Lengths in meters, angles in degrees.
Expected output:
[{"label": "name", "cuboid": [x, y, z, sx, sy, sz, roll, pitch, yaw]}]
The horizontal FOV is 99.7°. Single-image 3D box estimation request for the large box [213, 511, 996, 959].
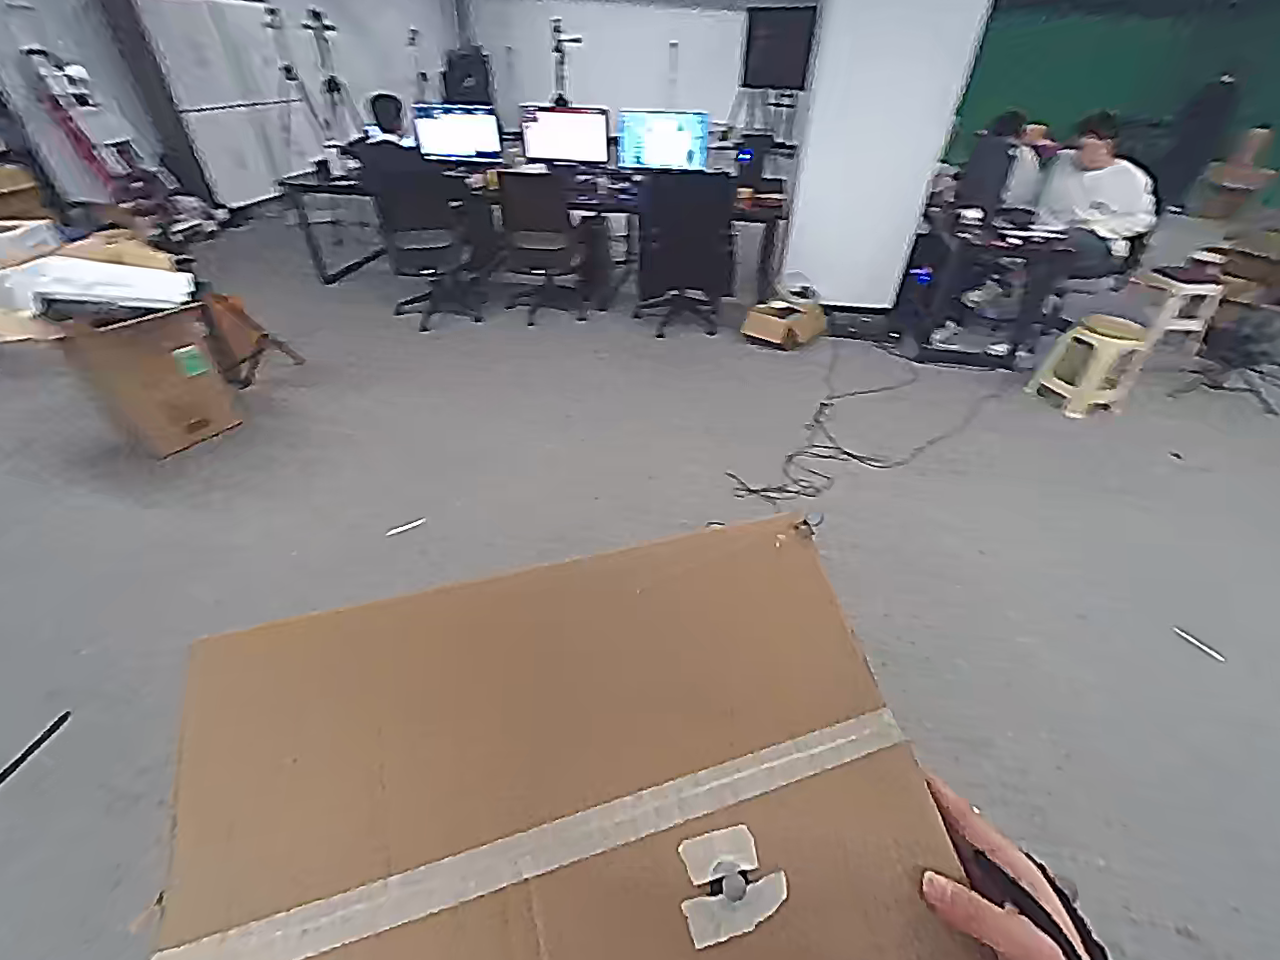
[{"label": "large box", "cuboid": [-0.044, 0.260, 0.446, 0.408, 0.320, 0.320, -9, 64, -14]}]
